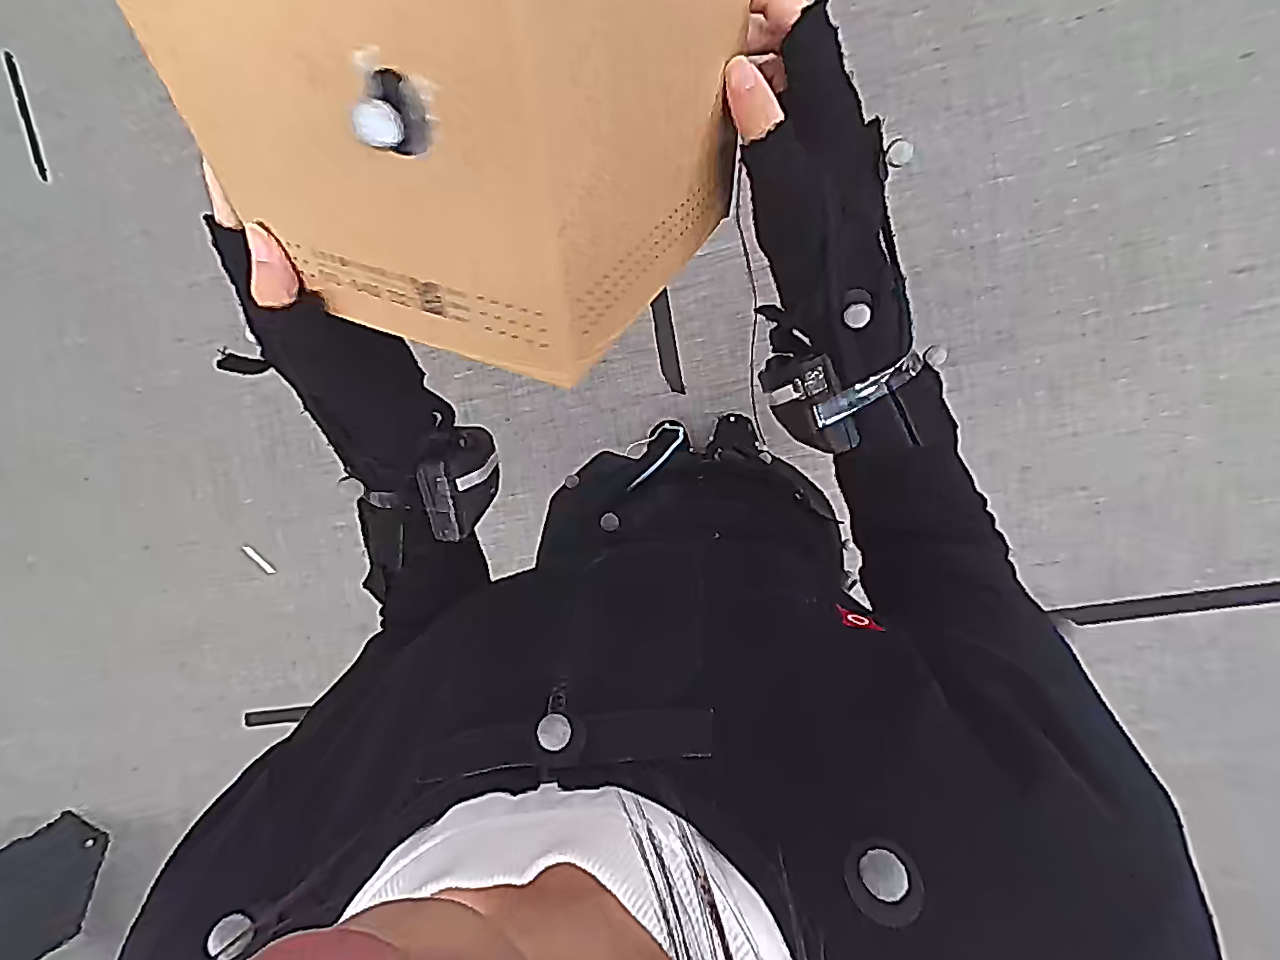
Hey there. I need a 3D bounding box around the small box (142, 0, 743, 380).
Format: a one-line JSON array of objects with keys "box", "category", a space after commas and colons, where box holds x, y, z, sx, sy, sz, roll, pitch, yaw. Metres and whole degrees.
[{"box": [-0.060, -0.169, 0.228, 0.168, 0.179, 0.176, 22, 143, 20], "category": "small box"}]
